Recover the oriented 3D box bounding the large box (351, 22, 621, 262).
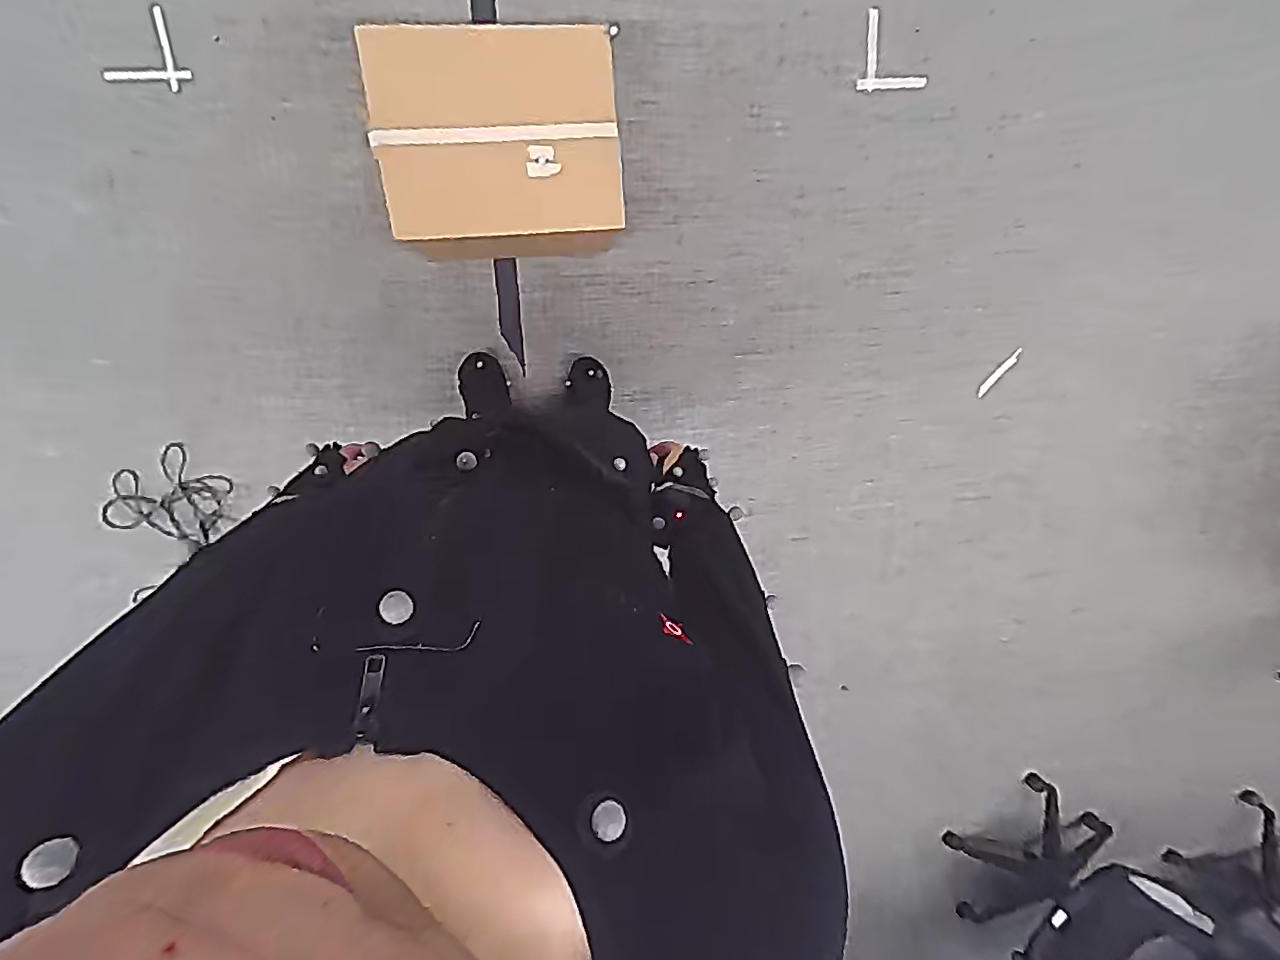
[{"bbox_3d":[-0.268,-0.618,1.045,0.408,0.320,0.320,-7,107,-8],"label":"large box"}]
